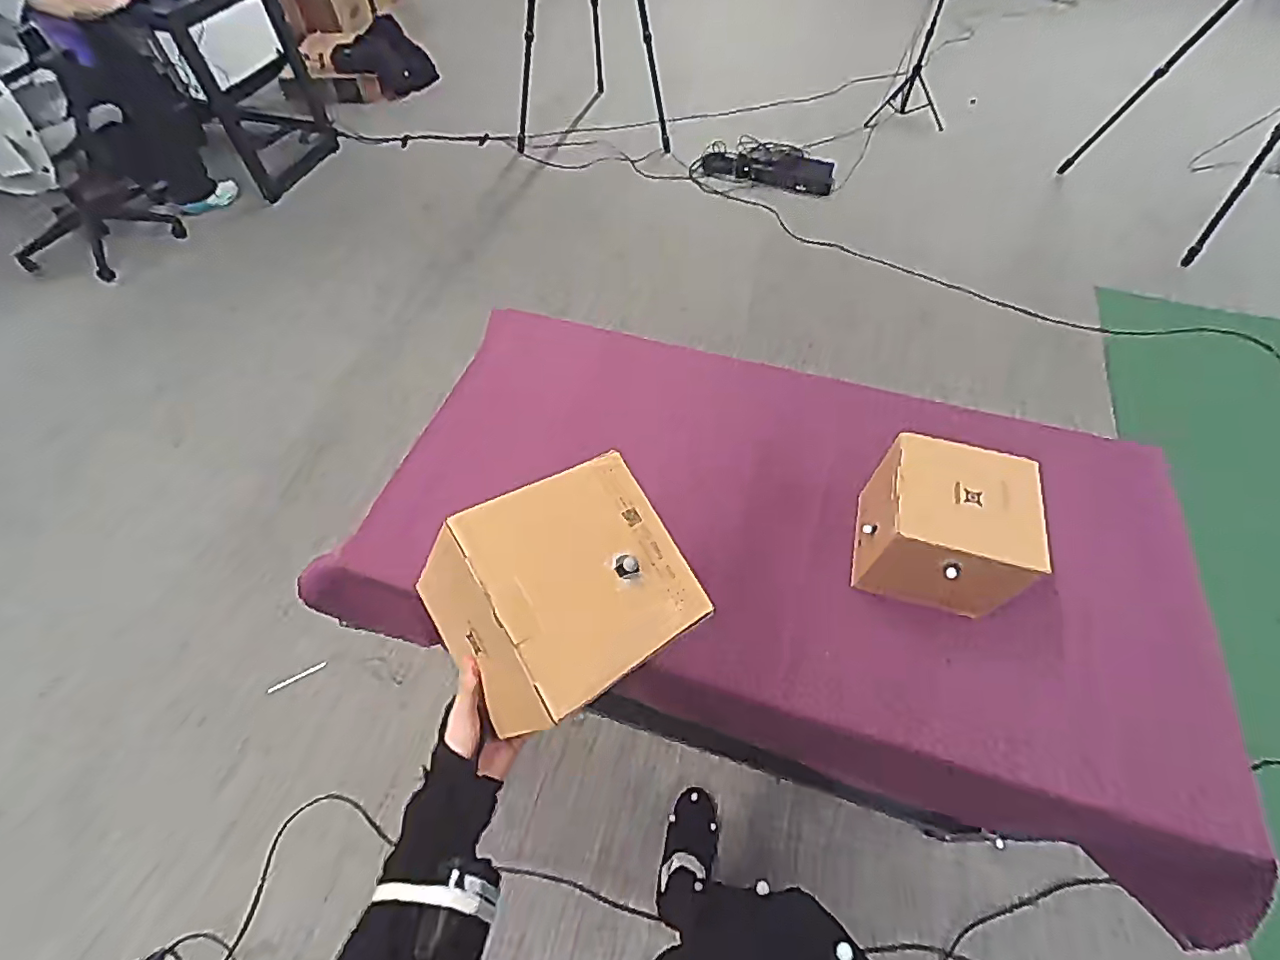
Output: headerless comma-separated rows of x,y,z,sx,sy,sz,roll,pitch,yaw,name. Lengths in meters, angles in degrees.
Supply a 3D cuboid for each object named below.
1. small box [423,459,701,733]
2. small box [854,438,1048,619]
-0.076,0.106,0.499,0.176,0.179,0.168,-24,77,-37,small box
0.410,0.072,0.742,0.179,0.176,0.168,14,58,9,small box
